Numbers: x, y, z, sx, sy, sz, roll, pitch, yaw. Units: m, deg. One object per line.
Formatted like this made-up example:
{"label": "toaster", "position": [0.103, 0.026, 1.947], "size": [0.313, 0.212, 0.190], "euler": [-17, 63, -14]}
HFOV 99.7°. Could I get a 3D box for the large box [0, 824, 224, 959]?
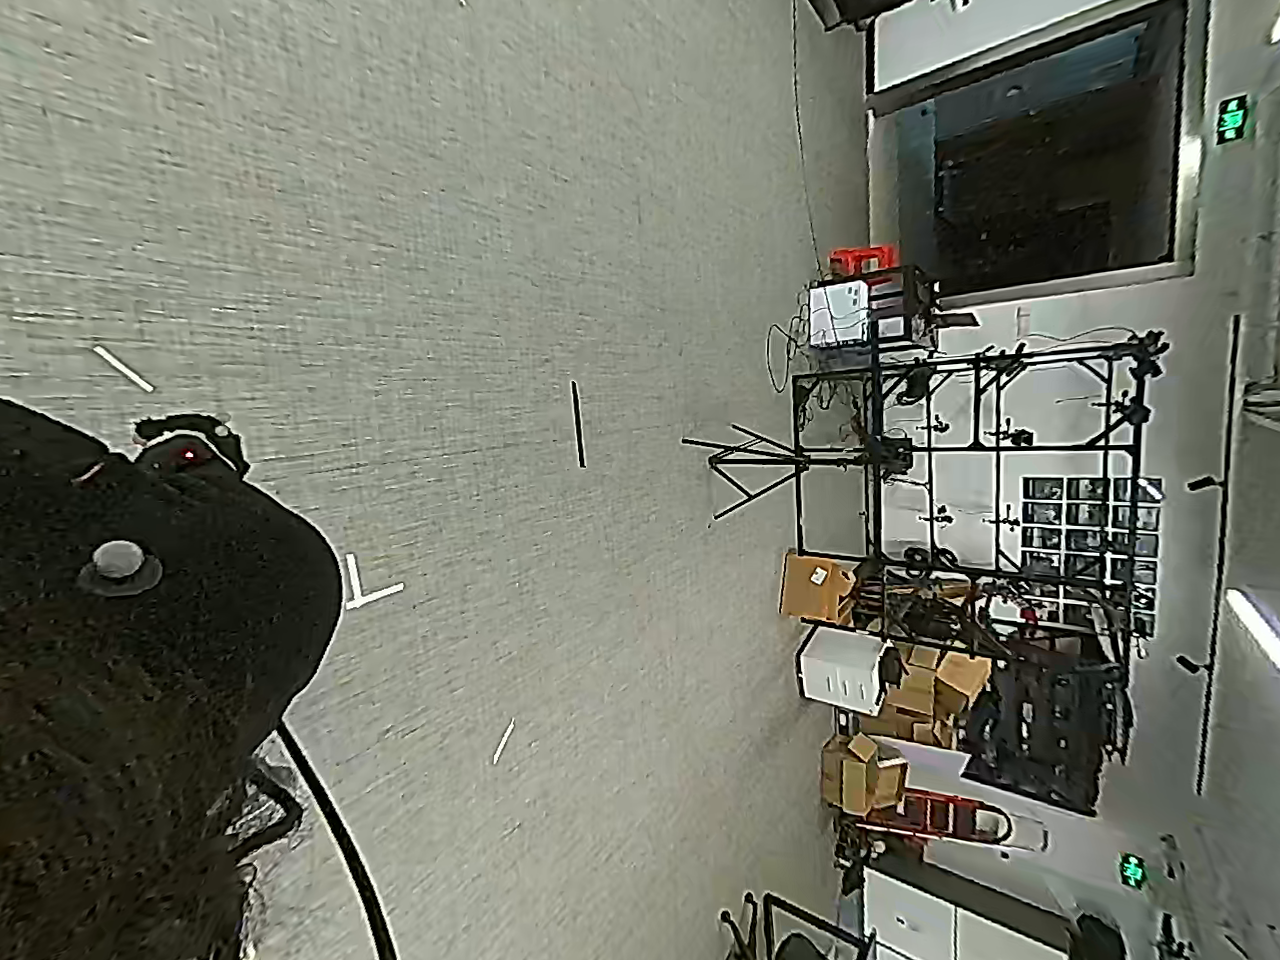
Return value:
{"label": "large box", "position": [-0.941, 0.872, 0.859], "size": [0.408, 0.320, 0.320], "euler": [-25, 110, -50]}
